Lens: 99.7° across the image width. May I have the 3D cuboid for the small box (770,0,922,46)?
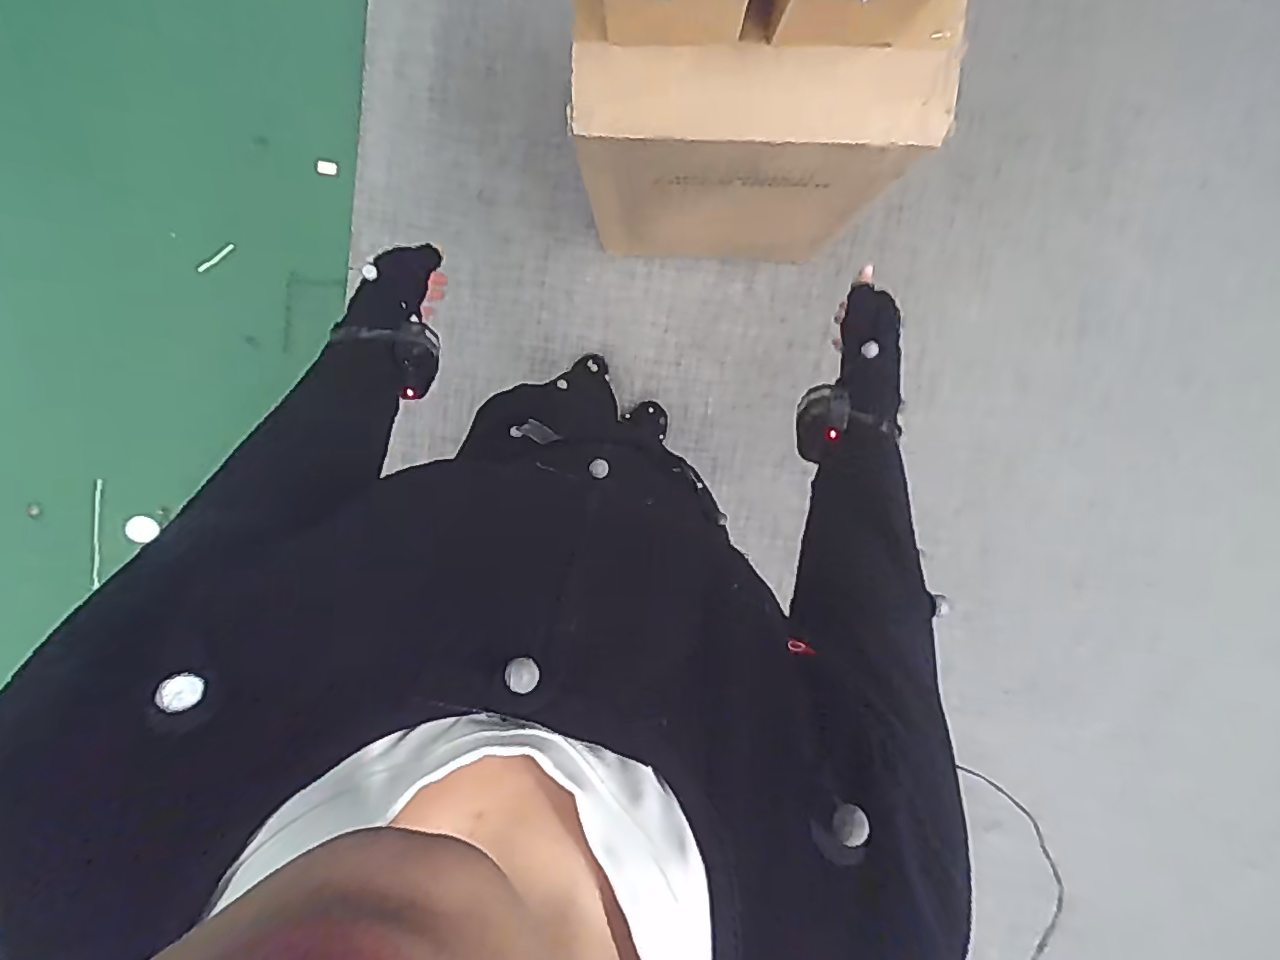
[{"bbox_3d":[0.258,-0.649,0.638,0.179,0.176,0.168,-1,104,0],"label":"small box"}]

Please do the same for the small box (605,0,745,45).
[{"bbox_3d":[0.044,-0.652,0.639,0.179,0.176,0.168,1,104,0],"label":"small box"}]
